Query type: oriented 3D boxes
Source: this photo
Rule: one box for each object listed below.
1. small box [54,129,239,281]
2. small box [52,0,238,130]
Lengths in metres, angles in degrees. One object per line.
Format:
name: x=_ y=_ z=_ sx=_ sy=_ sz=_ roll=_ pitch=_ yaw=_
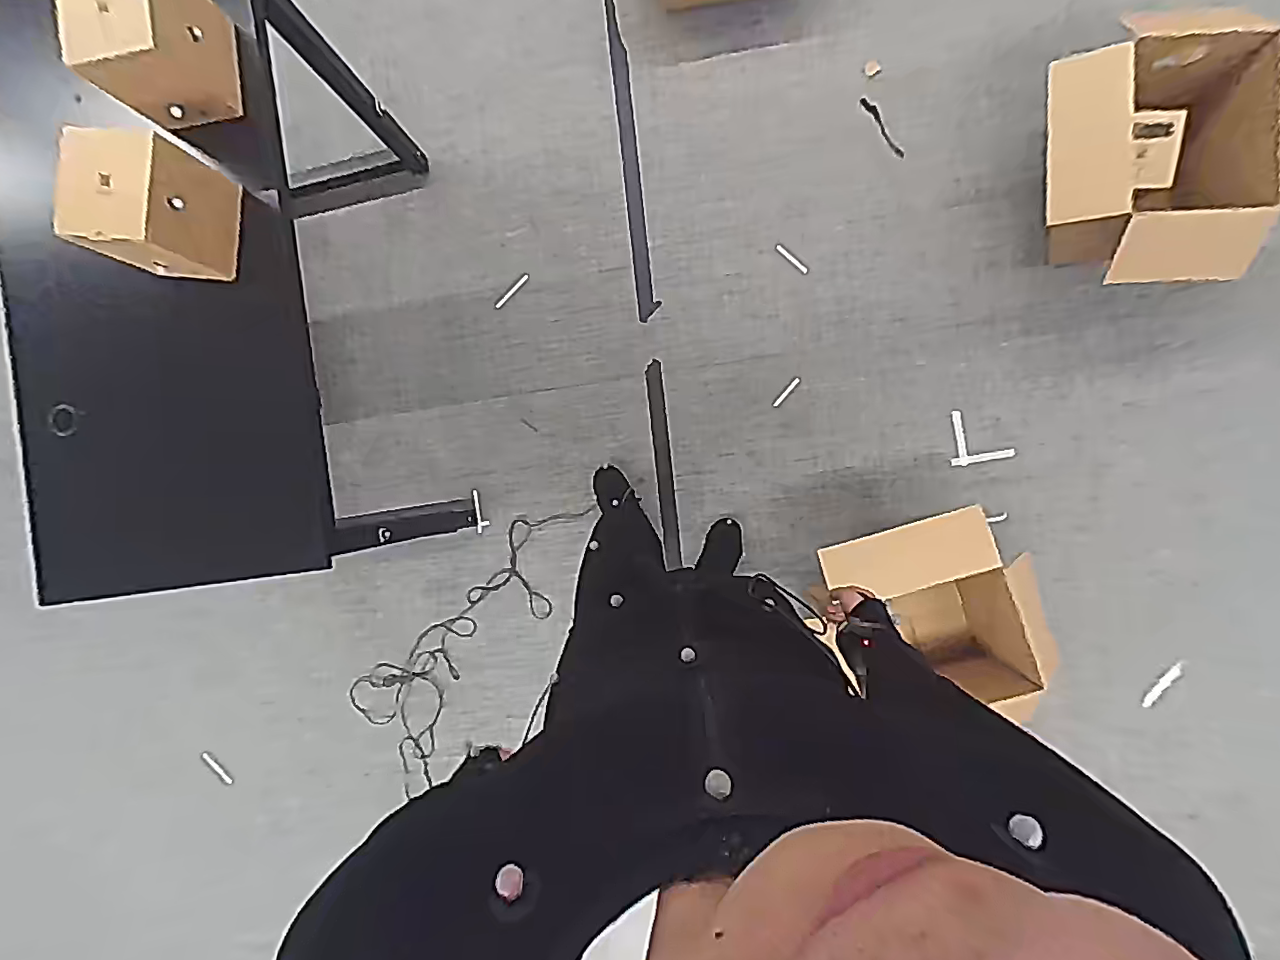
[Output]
small box: x=-0.831 y=-0.462 z=0.926 sx=0.168 sy=0.176 sz=0.179 roll=6 pitch=92 yaw=7
small box: x=-0.831 y=-0.743 z=0.920 sx=0.168 sy=0.176 sz=0.179 roll=-6 pitch=91 yaw=7
